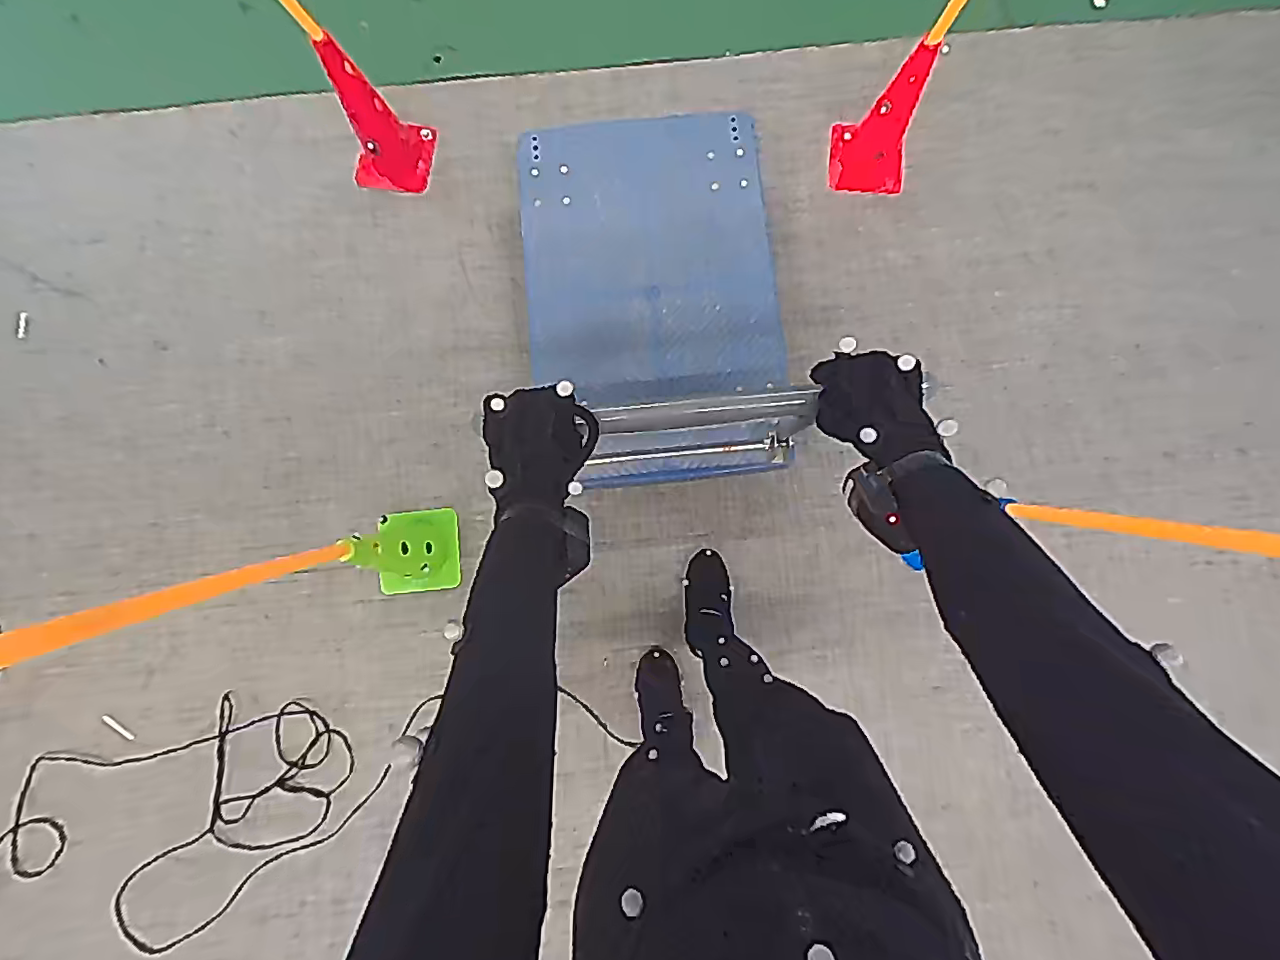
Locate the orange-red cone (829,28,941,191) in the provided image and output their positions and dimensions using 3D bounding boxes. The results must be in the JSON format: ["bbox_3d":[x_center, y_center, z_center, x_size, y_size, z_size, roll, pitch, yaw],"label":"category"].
[{"bbox_3d":[0.611,-0.898,1.293,0.198,0.360,0.199,6,84,2],"label":"orange-red cone"}]
